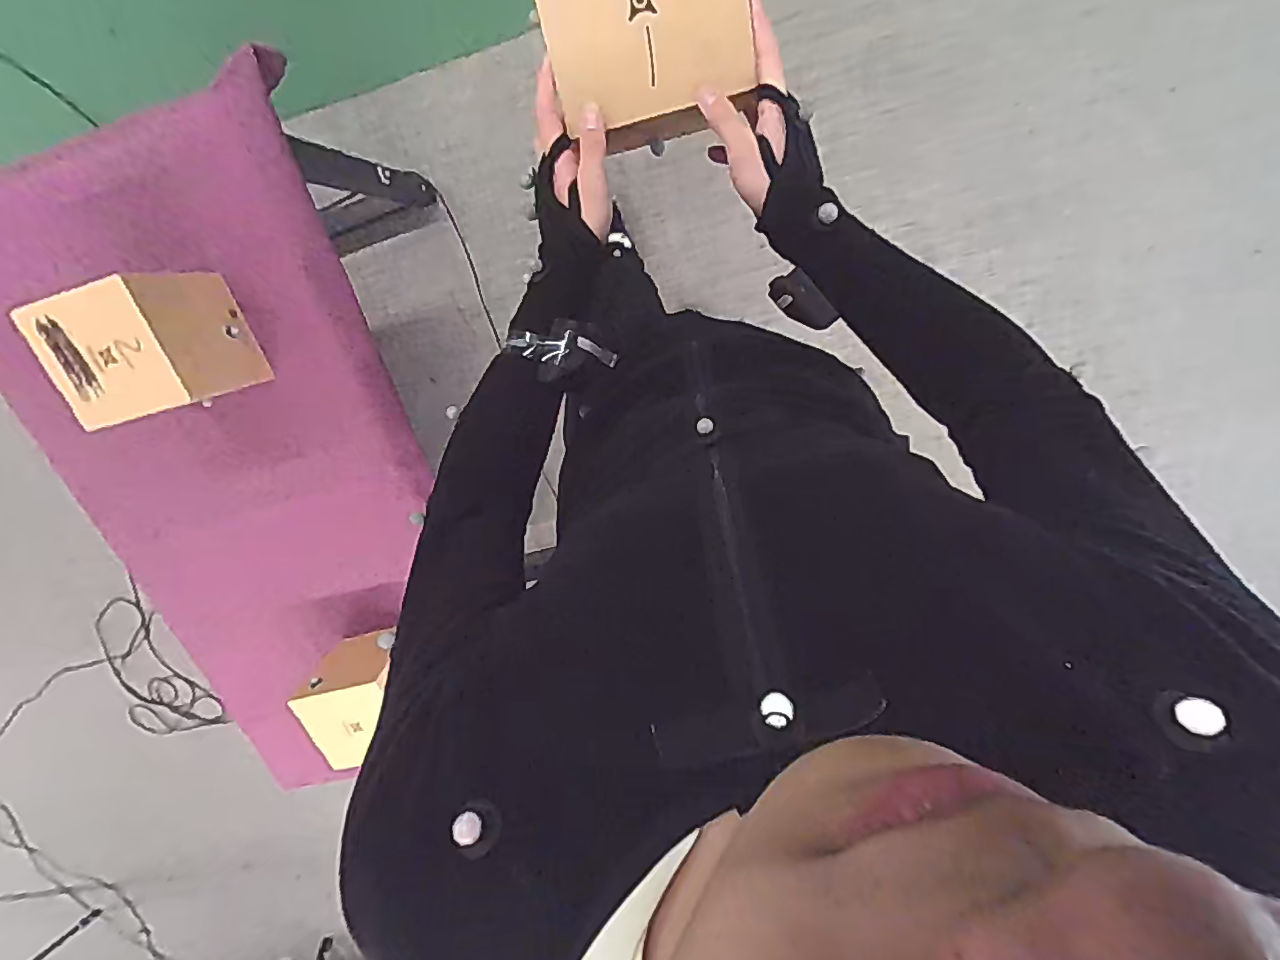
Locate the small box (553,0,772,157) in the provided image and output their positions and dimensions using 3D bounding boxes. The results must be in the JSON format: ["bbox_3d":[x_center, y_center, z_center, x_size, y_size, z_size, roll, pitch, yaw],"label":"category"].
[{"bbox_3d":[0.014,-0.417,0.489,0.168,0.176,0.179,-11,115,7],"label":"small box"}]

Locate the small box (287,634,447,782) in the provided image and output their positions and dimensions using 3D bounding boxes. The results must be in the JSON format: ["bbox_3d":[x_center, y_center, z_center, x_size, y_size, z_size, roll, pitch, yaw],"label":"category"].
[{"bbox_3d":[-0.473,0.402,0.976,0.179,0.176,0.168,-16,109,10],"label":"small box"}]
